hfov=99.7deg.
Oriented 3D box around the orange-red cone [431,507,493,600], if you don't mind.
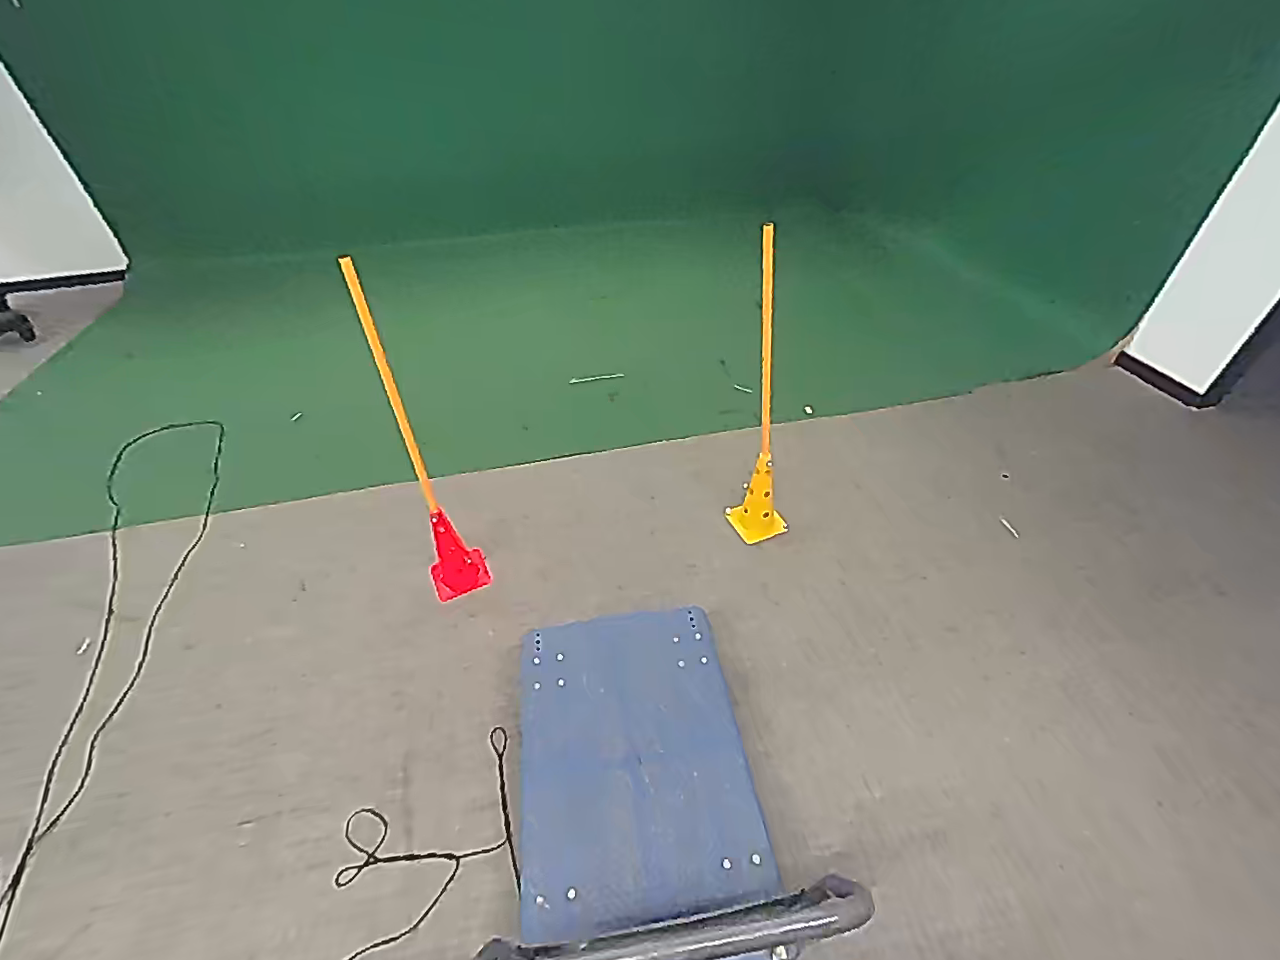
[{"bbox_3d":[-0.685,0.235,1.948,0.199,0.360,0.198,-21,45,-17],"label":"orange-red cone"}]
